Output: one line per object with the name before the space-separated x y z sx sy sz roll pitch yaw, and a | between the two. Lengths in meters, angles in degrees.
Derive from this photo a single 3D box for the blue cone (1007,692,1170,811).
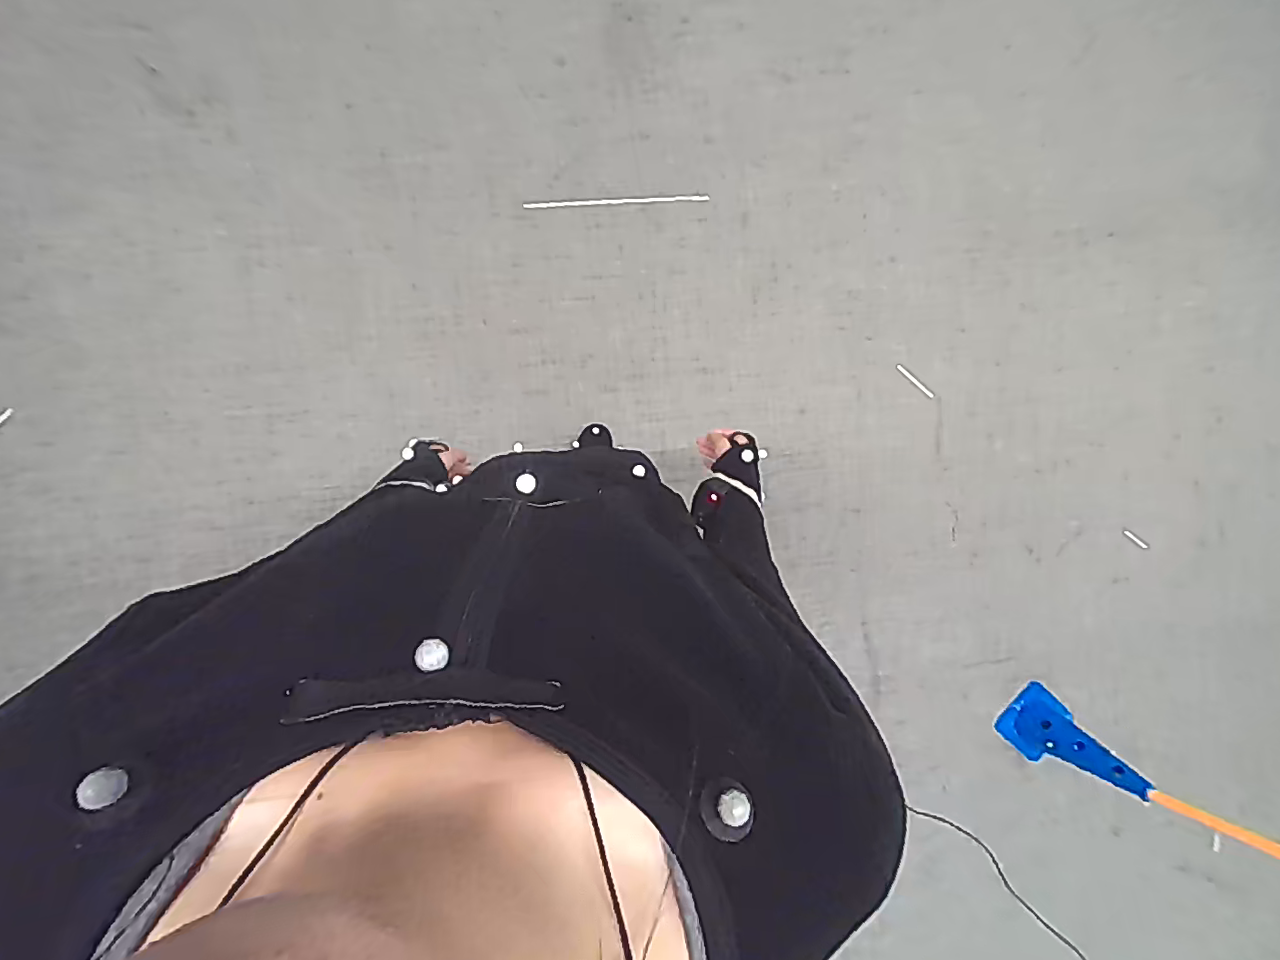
blue cone | 1.254 0.775 1.503 0.192 0.380 0.193 40 89 -6
